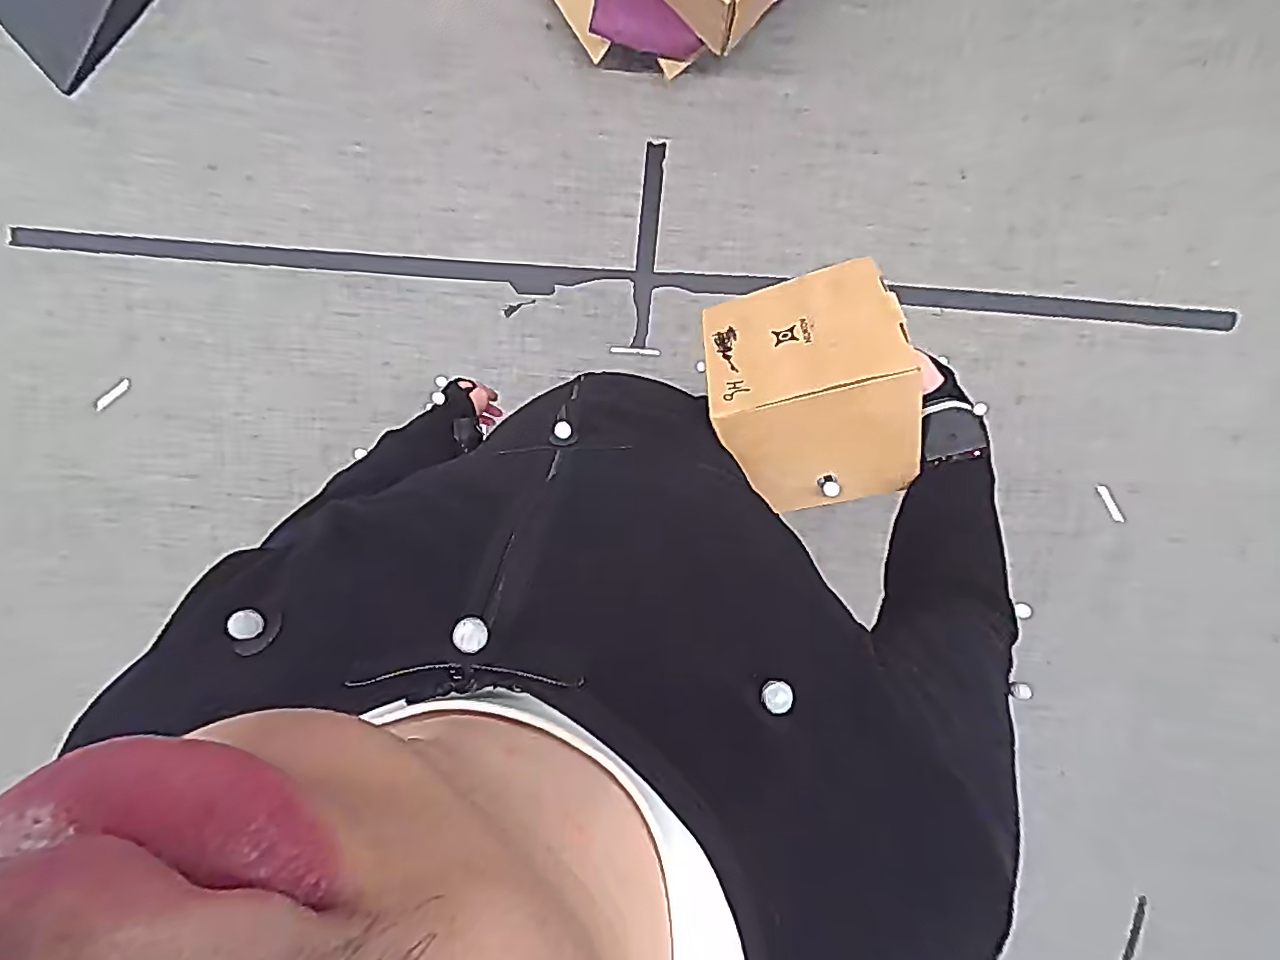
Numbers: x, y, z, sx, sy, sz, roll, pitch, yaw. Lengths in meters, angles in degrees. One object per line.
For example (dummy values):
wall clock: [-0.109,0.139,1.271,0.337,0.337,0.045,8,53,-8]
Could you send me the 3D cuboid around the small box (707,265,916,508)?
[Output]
small box: [0.180,-0.091,0.583,0.179,0.168,0.176,-13,139,17]
